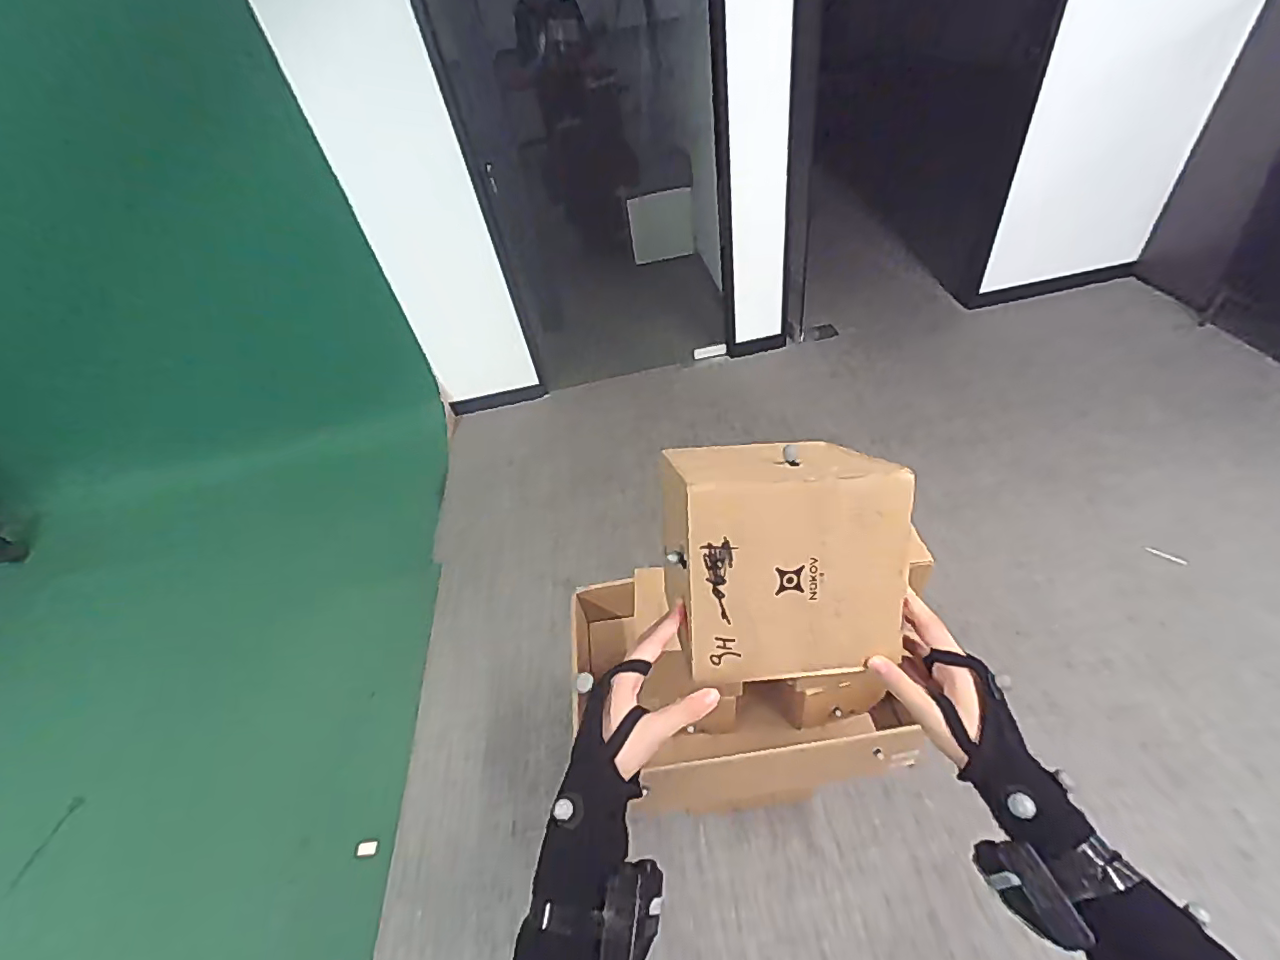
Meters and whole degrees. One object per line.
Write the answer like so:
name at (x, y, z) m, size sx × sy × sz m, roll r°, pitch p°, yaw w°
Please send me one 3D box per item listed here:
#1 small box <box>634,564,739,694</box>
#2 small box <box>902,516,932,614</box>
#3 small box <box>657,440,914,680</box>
small box at (0.085, 0.261, 0.948) m, size 0.179 × 0.176 × 0.168 m, roll -3°, pitch 44°, yaw 5°
small box at (0.302, 0.113, 0.815) m, size 0.179 × 0.176 × 0.168 m, roll -8°, pitch 45°, yaw 5°
small box at (0.115, 0.057, 0.493) m, size 0.179 × 0.168 × 0.176 m, roll -3°, pitch 12°, yaw -5°
